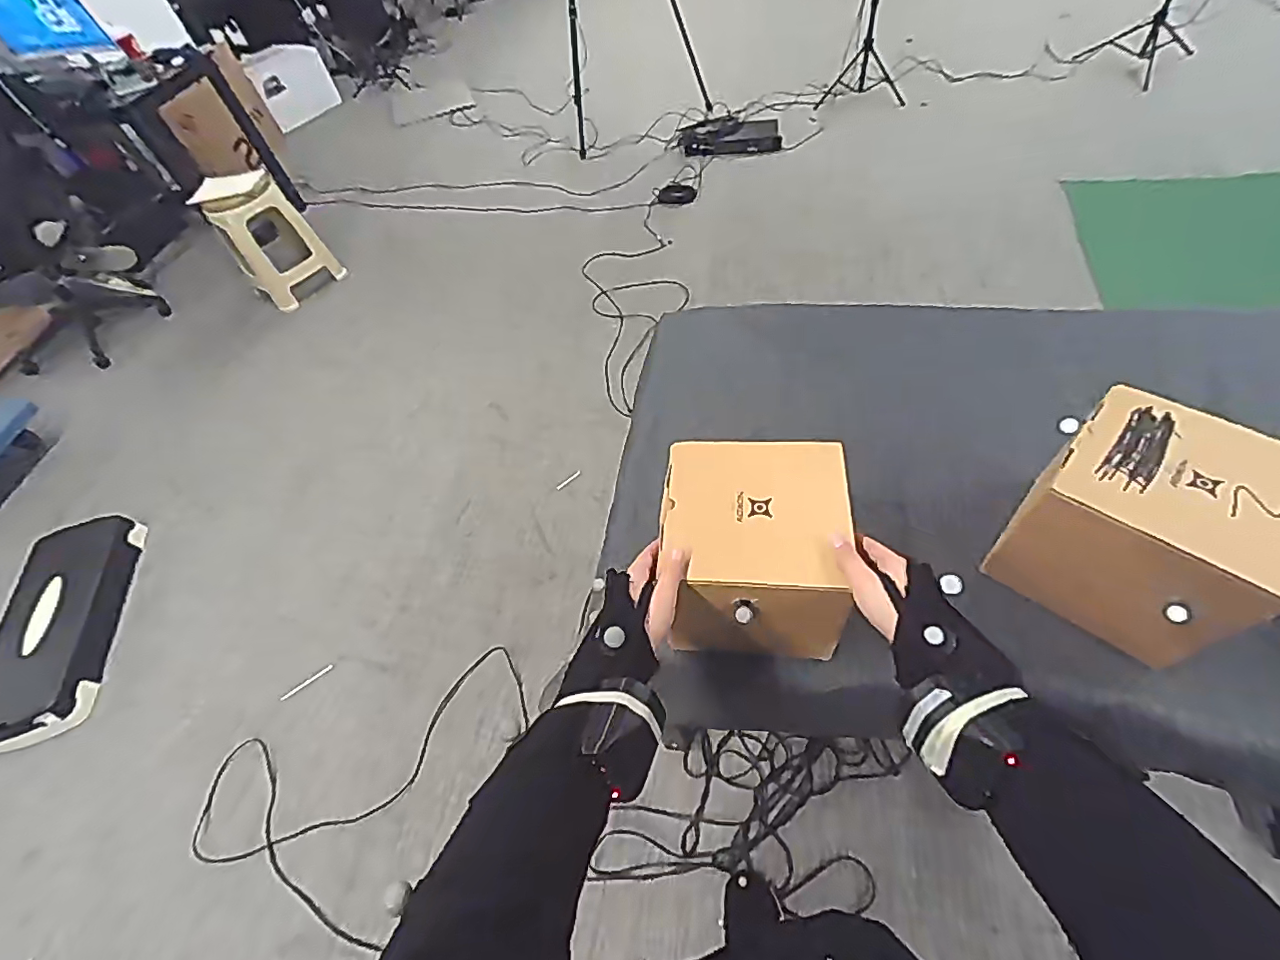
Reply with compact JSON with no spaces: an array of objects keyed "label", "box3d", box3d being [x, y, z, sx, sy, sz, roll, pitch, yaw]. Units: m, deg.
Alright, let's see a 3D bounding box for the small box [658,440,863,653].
[{"label":"small box","box3d":[0.121,0.074,0.573,0.179,0.176,0.168,-1,52,11]}]
